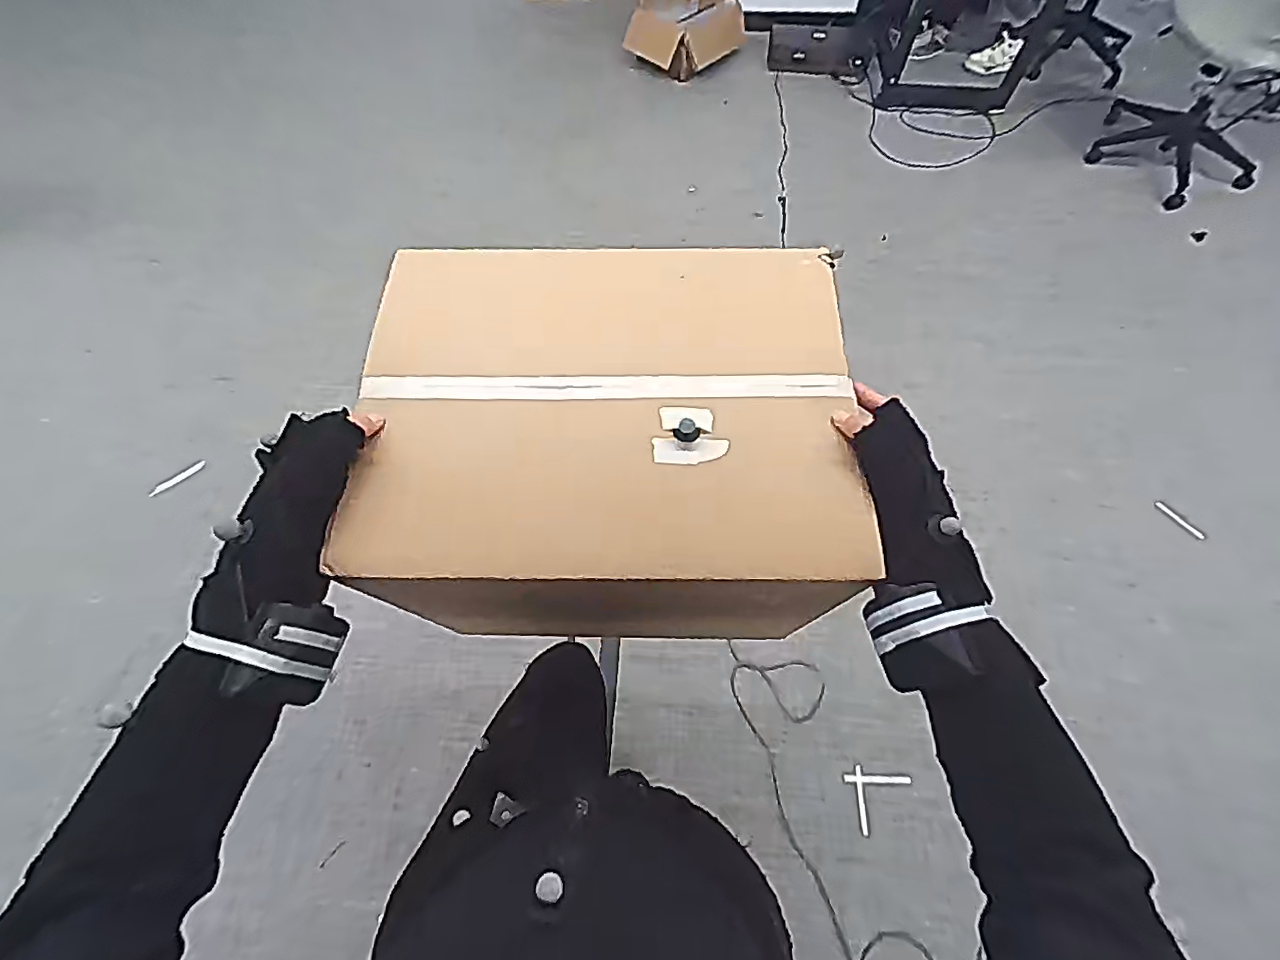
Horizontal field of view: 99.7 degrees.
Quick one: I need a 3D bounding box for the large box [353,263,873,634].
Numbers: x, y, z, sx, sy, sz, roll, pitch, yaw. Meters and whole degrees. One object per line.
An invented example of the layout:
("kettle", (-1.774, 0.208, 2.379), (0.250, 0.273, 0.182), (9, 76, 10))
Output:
("large box", (-0.021, -0.011, 0.603), (0.408, 0.320, 0.320), (0, 66, 1))
